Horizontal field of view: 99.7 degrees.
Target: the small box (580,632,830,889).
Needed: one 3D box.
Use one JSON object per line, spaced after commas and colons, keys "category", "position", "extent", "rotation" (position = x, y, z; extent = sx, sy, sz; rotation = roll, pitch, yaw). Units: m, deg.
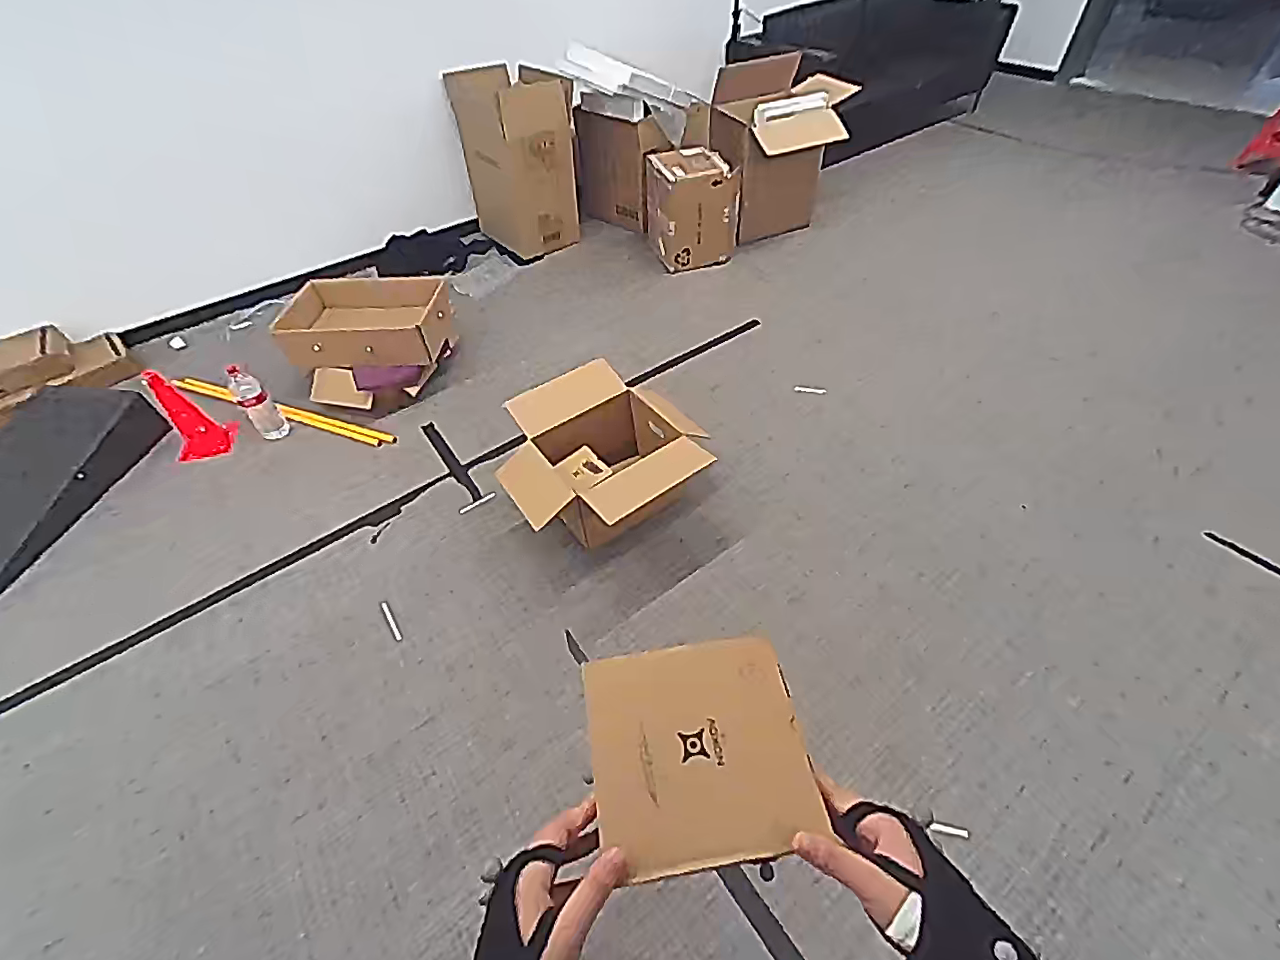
{"category": "small box", "position": [0.046, 0.263, 0.505], "extent": [0.179, 0.176, 0.168], "rotation": [-9, 53, -5]}
